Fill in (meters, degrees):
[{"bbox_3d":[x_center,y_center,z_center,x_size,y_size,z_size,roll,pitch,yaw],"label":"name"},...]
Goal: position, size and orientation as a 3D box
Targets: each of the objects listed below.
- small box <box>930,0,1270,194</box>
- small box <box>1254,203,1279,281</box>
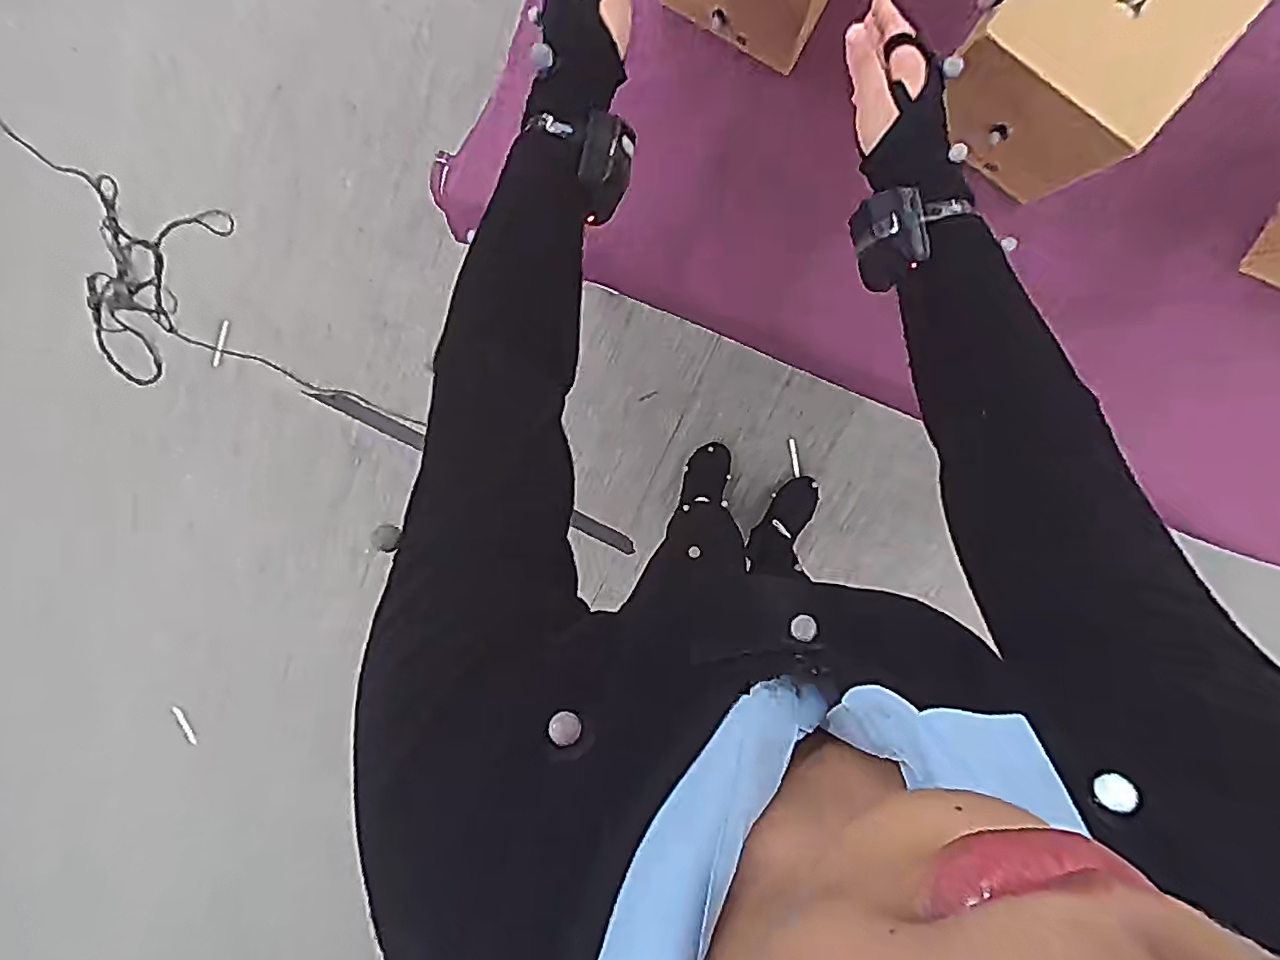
[{"bbox_3d":[0.407,-0.406,0.502,0.168,0.176,0.179,36,104,-3],"label":"small box"},{"bbox_3d":[0.754,-0.258,0.497,0.168,0.176,0.179,25,103,1],"label":"small box"}]
